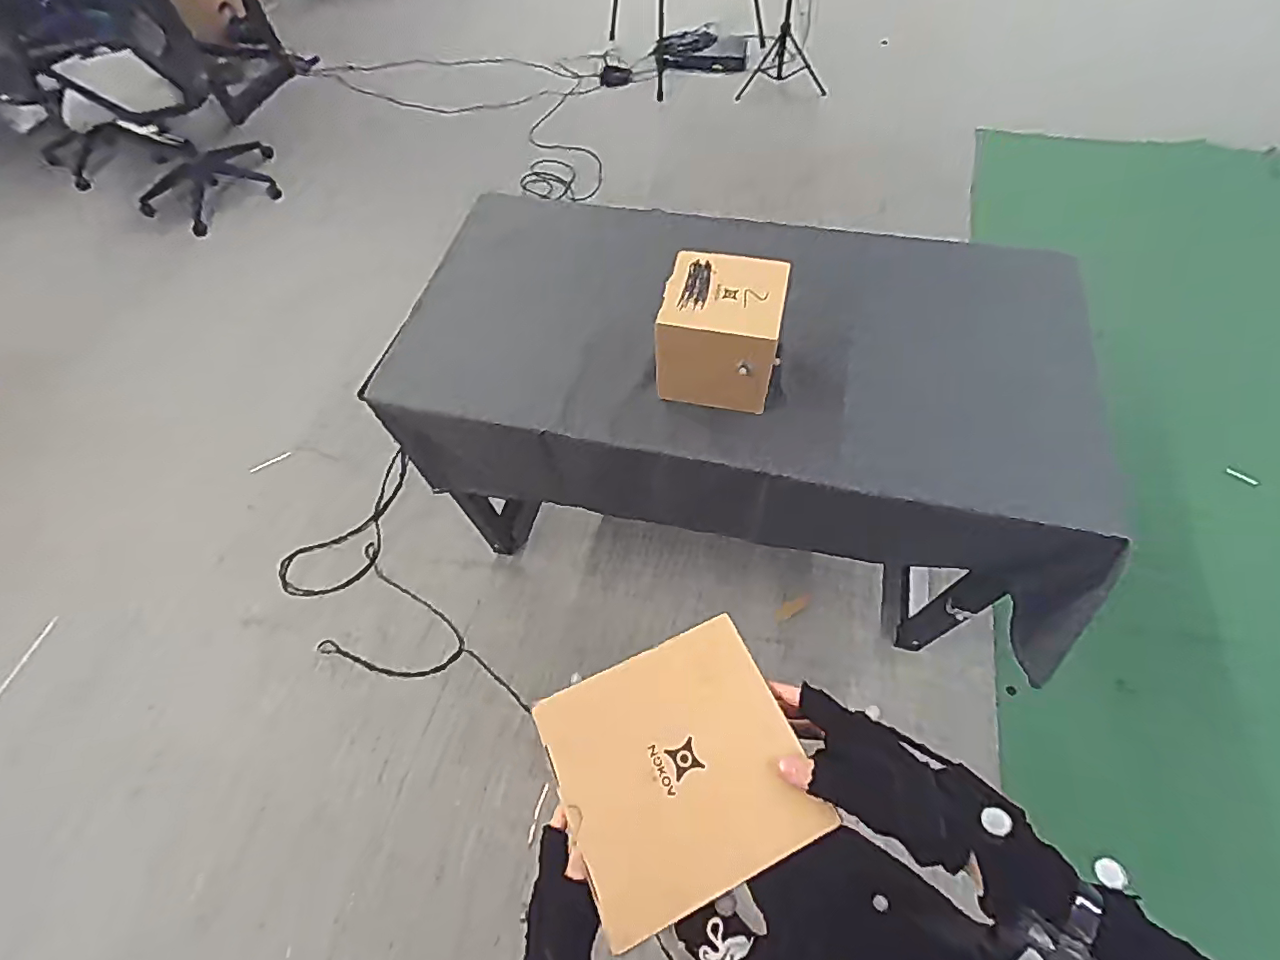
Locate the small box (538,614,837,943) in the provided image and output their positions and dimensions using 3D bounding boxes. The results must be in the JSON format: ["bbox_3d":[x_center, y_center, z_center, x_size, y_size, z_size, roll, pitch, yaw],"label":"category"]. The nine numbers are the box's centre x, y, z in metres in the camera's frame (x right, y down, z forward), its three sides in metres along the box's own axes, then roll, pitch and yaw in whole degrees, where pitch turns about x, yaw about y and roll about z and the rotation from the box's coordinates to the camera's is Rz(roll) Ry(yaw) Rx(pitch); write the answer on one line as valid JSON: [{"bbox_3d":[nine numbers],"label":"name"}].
[{"bbox_3d":[0.031,0.244,0.469,0.179,0.176,0.168,-22,61,-11],"label":"small box"}]
